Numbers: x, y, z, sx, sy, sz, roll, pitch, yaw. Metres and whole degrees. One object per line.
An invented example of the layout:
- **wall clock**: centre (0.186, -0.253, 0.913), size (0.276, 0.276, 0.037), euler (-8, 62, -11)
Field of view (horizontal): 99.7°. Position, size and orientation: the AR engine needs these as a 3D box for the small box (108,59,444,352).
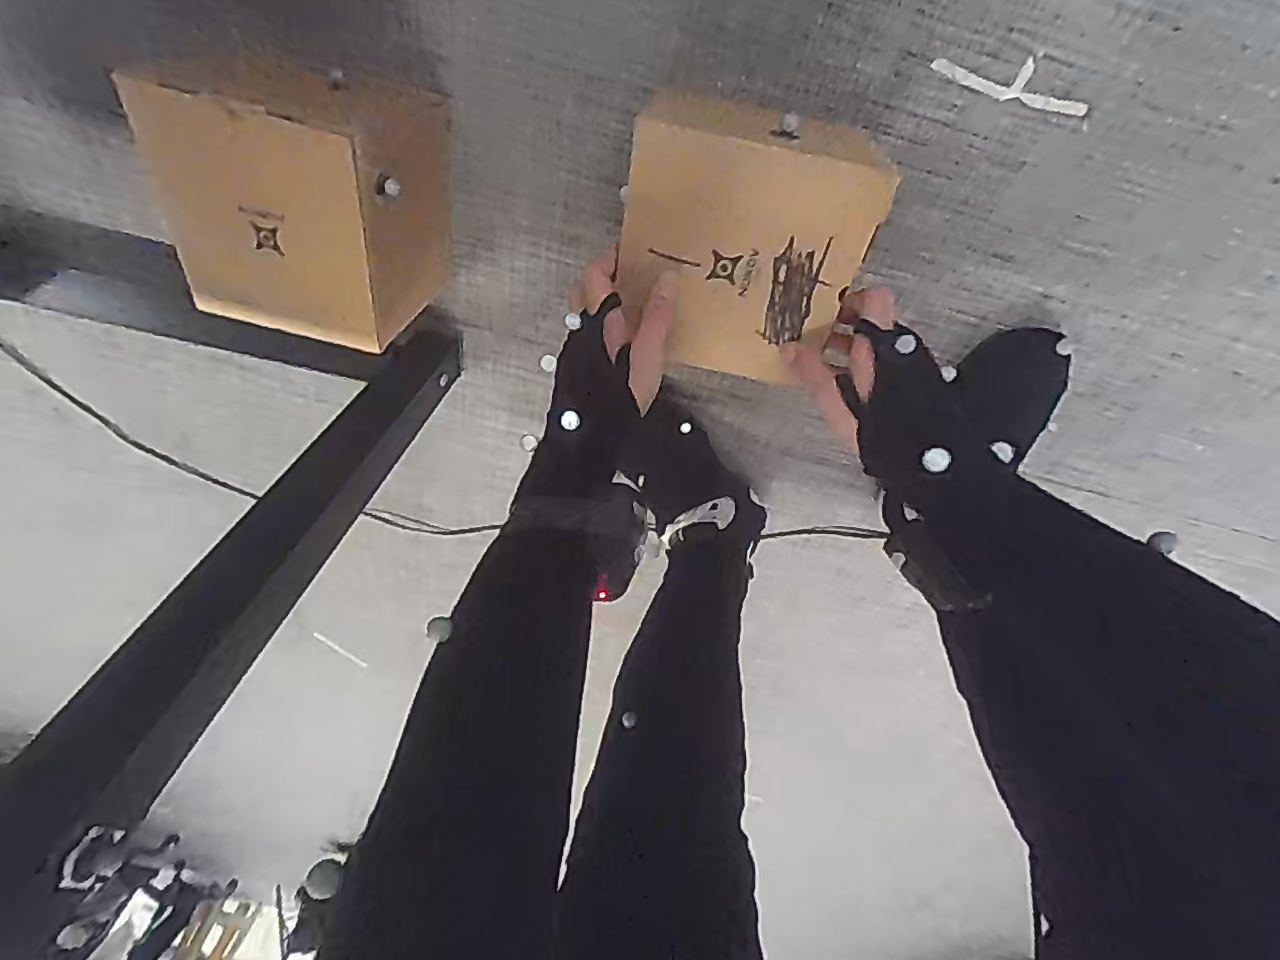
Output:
- **small box**: centre (-0.287, -0.247, 0.483), size (0.168, 0.176, 0.179), euler (14, 131, -2)
